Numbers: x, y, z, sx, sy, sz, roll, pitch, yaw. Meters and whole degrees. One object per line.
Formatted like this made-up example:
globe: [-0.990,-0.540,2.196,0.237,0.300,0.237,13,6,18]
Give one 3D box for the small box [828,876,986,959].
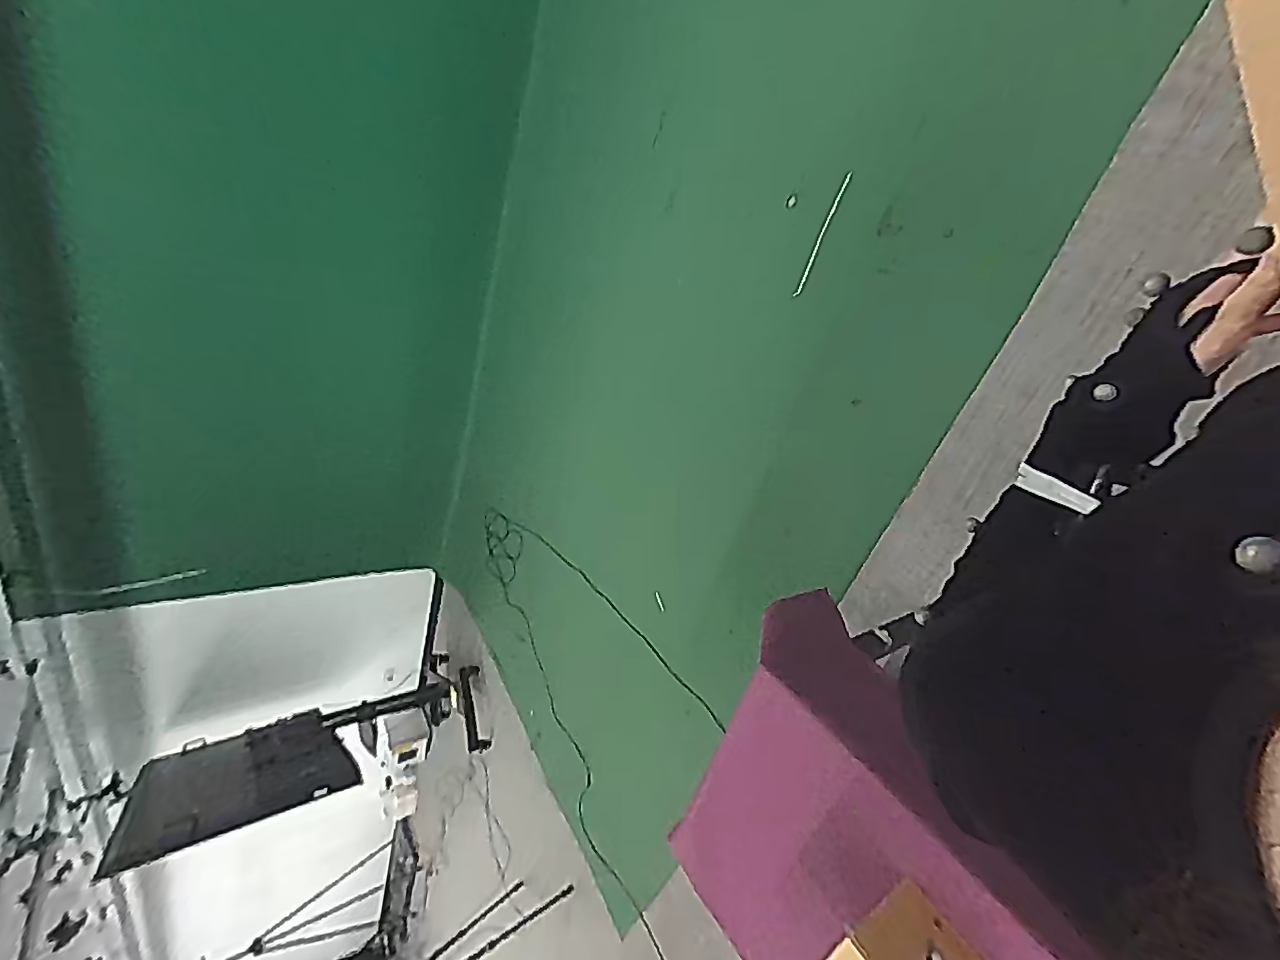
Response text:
small box: [0.383,0.727,0.779,0.168,0.176,0.179,42,124,42]
